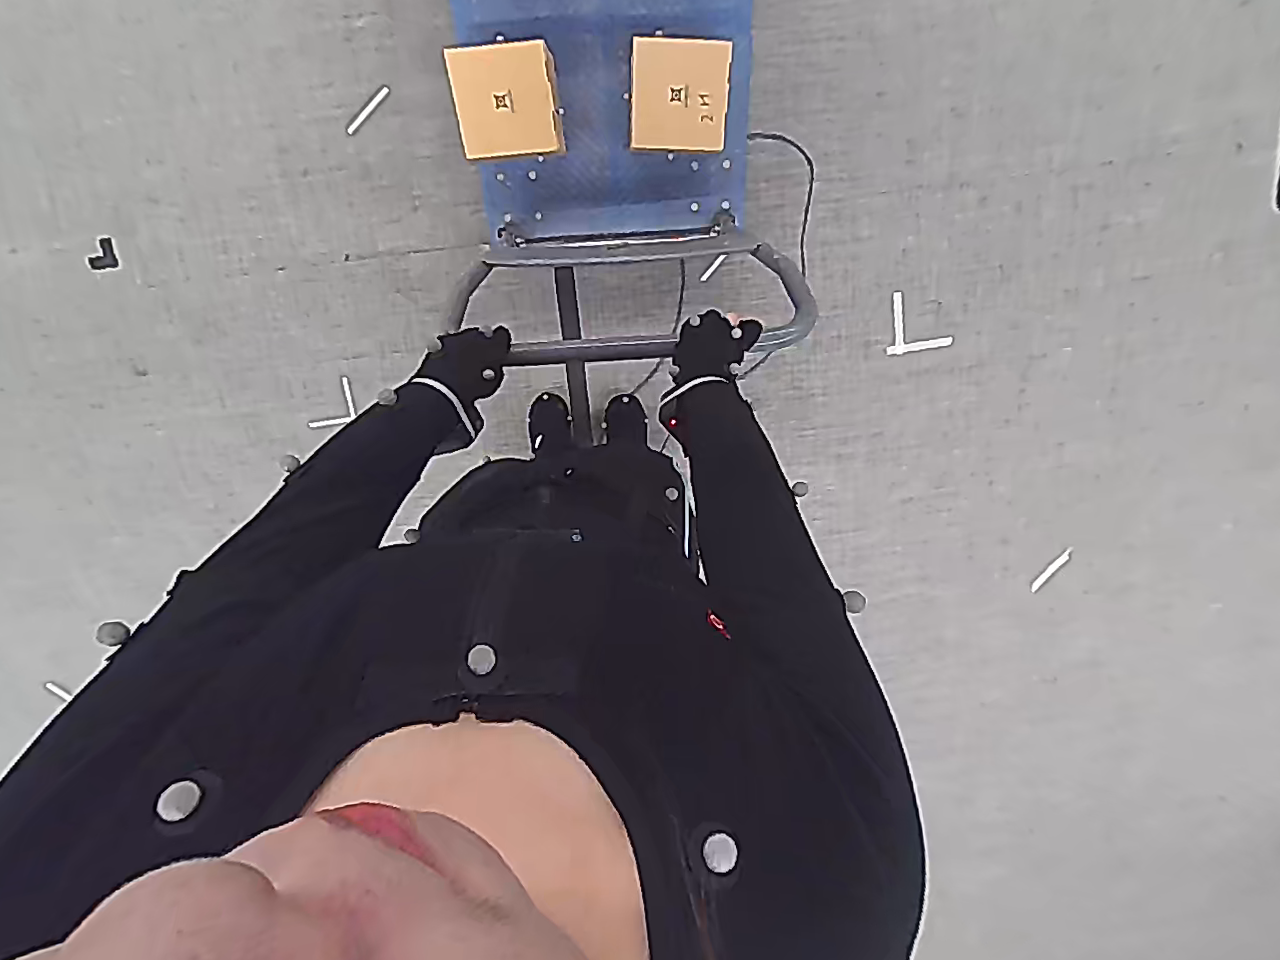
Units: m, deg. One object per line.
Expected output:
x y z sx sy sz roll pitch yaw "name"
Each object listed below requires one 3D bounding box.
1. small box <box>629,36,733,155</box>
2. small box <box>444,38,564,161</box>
0.069 -0.729 1.041 0.179 0.176 0.168 0 119 -3 "small box"
-0.248 -0.714 1.033 0.179 0.176 0.168 -7 119 -1 "small box"
